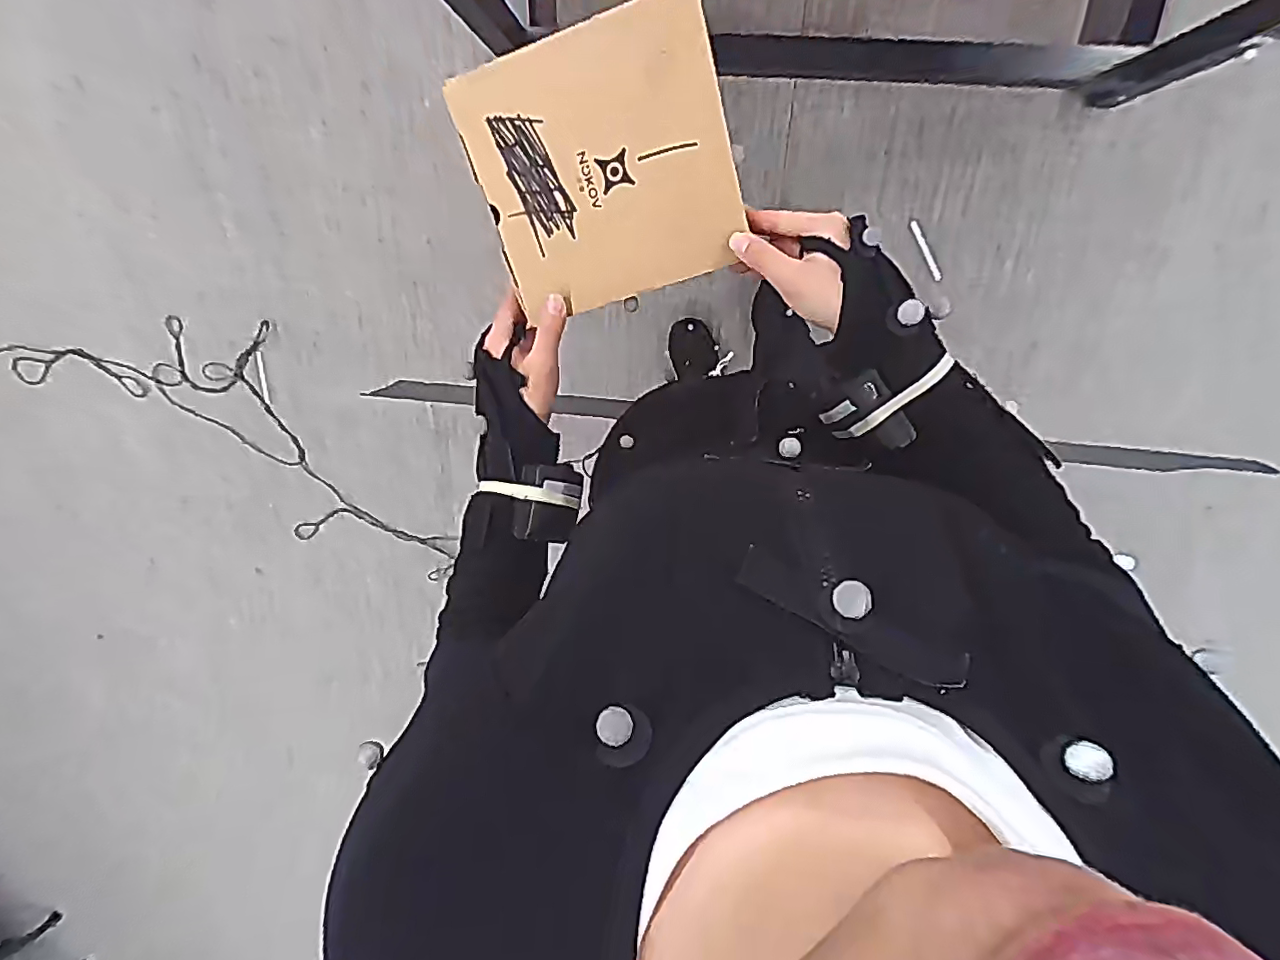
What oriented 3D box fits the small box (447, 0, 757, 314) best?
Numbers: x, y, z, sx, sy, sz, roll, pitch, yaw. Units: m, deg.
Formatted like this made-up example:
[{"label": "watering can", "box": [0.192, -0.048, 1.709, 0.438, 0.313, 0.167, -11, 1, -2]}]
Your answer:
[{"label": "small box", "box": [-0.015, -0.244, 0.433, 0.179, 0.176, 0.168, -14, 112, 11]}]
